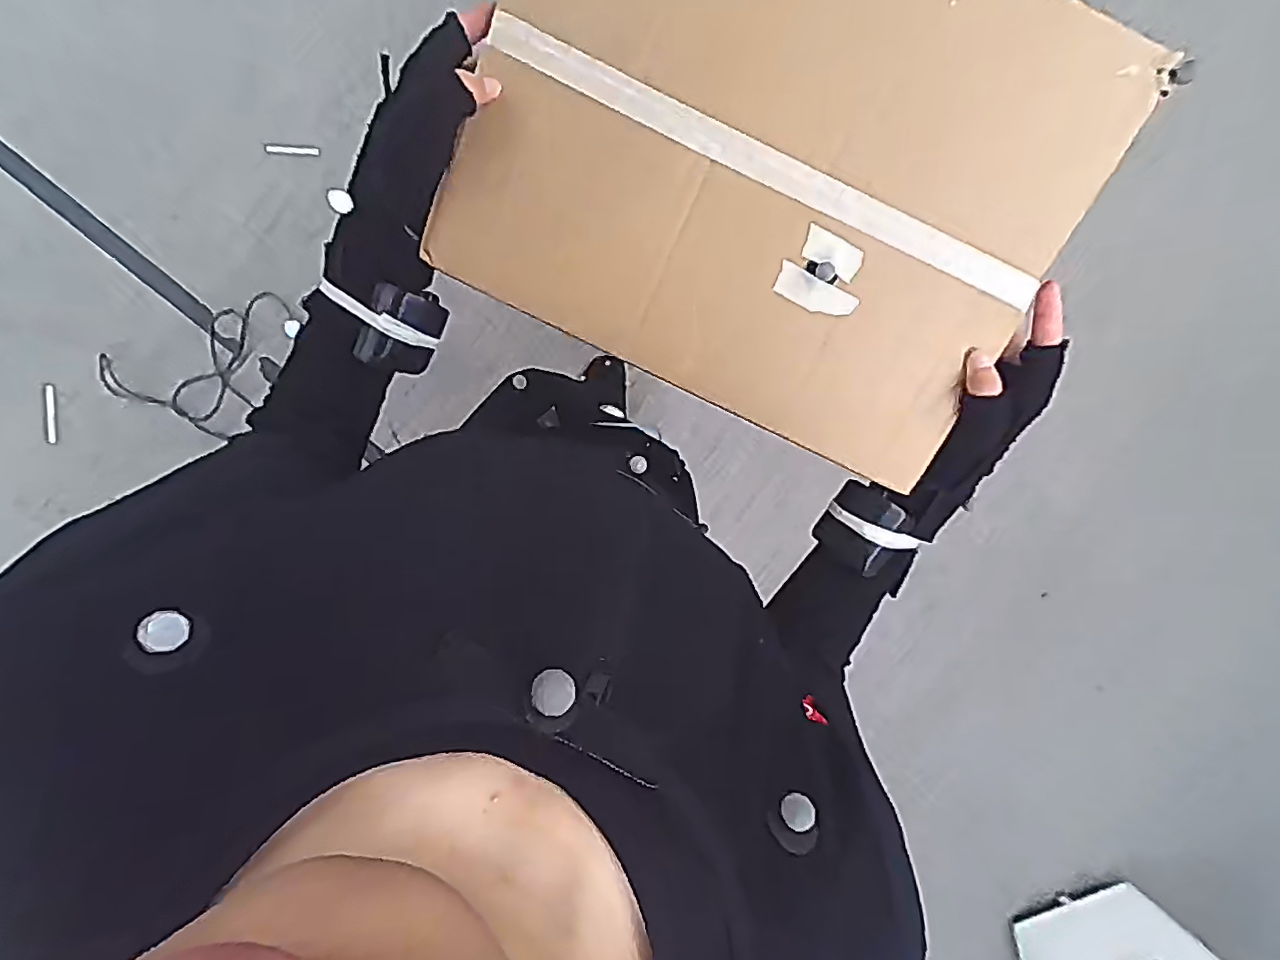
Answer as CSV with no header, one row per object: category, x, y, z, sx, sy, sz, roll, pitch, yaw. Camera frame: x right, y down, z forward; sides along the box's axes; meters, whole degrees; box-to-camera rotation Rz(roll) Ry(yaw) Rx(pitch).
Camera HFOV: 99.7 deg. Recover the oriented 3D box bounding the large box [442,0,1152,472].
large box,0.099,-0.255,0.520,0.408,0.320,0.320,26,106,-3
